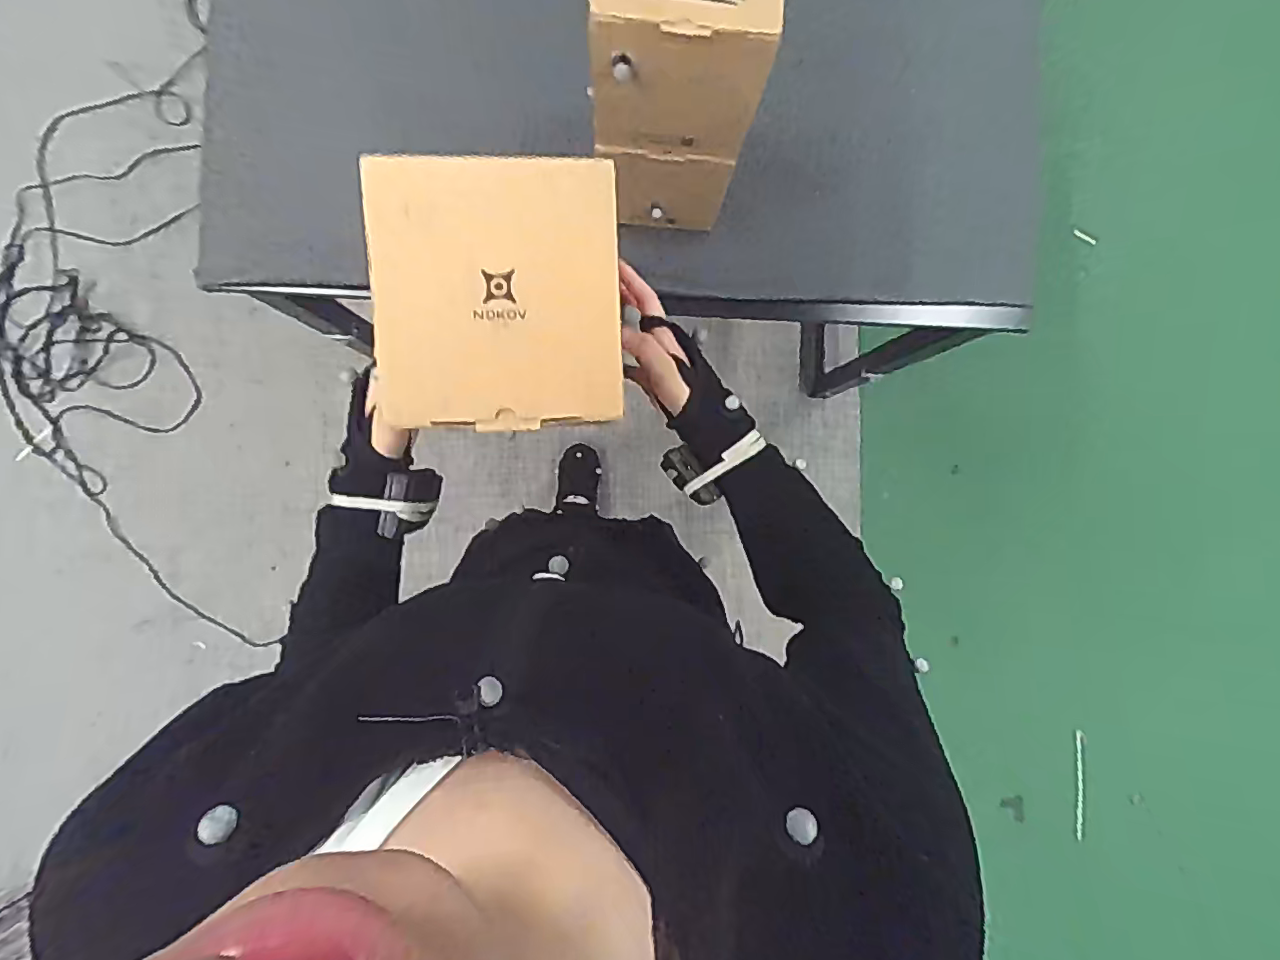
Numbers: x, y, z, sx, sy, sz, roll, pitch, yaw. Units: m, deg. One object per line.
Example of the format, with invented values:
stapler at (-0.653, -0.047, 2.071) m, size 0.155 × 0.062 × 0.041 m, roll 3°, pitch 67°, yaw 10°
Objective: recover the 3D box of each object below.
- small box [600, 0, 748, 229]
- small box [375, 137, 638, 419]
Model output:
small box at (0.035, -0.456, 0.699) m, size 0.168 × 0.176 × 0.179 m, roll 3°, pitch 89°, yaw -3°
small box at (-0.094, -0.141, 0.436) m, size 0.168 × 0.176 × 0.179 m, roll -3°, pitch 97°, yaw -6°
